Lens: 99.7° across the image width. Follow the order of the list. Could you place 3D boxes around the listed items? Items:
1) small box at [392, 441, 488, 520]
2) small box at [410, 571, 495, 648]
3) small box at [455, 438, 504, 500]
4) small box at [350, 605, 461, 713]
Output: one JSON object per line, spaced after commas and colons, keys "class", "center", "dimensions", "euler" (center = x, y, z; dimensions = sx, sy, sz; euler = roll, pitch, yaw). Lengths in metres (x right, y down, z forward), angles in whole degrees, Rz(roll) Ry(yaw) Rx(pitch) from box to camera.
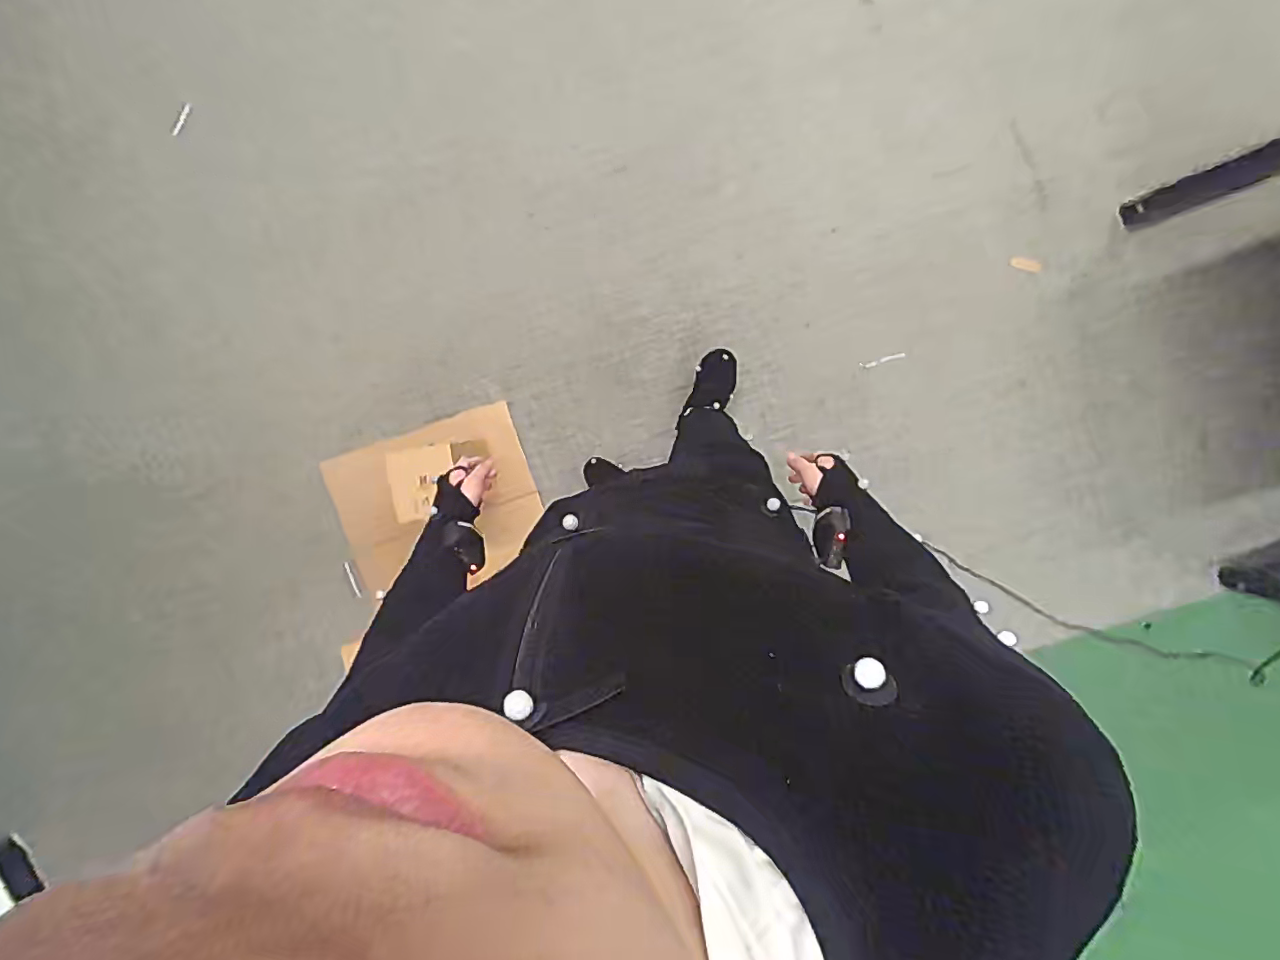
{"class": "small box", "center": [-0.509, -0.005, 1.398], "dimensions": [0.168, 0.176, 0.179], "euler": [-9, 97, 3]}
{"class": "small box", "center": [-0.550, 0.389, 1.609], "dimensions": [0.168, 0.176, 0.179], "euler": [-14, 95, 3]}
{"class": "small box", "center": [-0.512, -0.022, 1.563], "dimensions": [0.168, 0.176, 0.179], "euler": [-13, 97, 3]}
{"class": "small box", "center": [-0.545, 0.418, 1.283], "dimensions": [0.168, 0.176, 0.179], "euler": [-12, 96, 2]}
